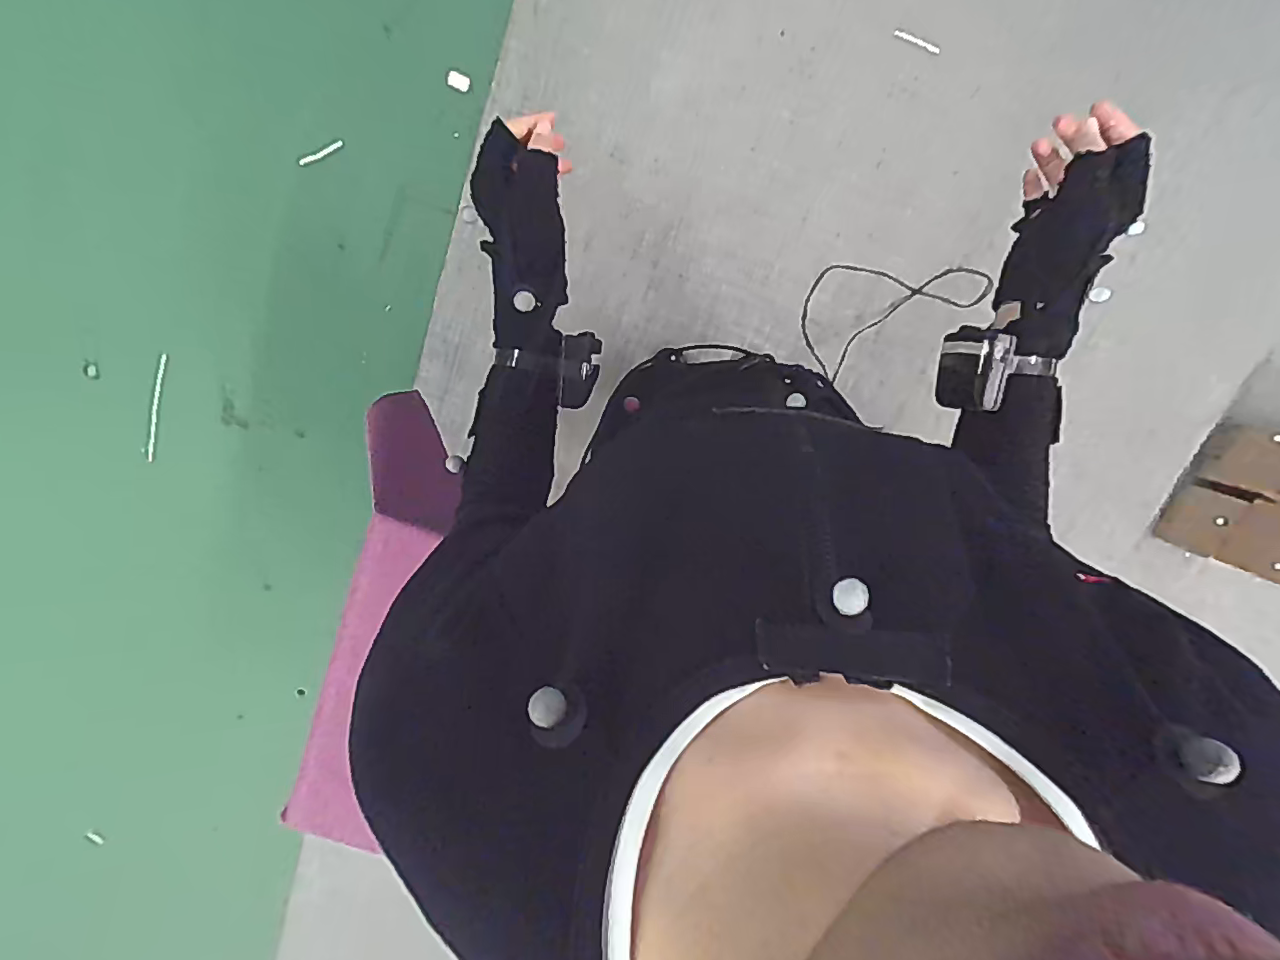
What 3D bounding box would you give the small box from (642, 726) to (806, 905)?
[{"bbox_3d":[0.109,0.498,0.785,0.168,0.176,0.179,22,105,-4],"label":"small box"}]
